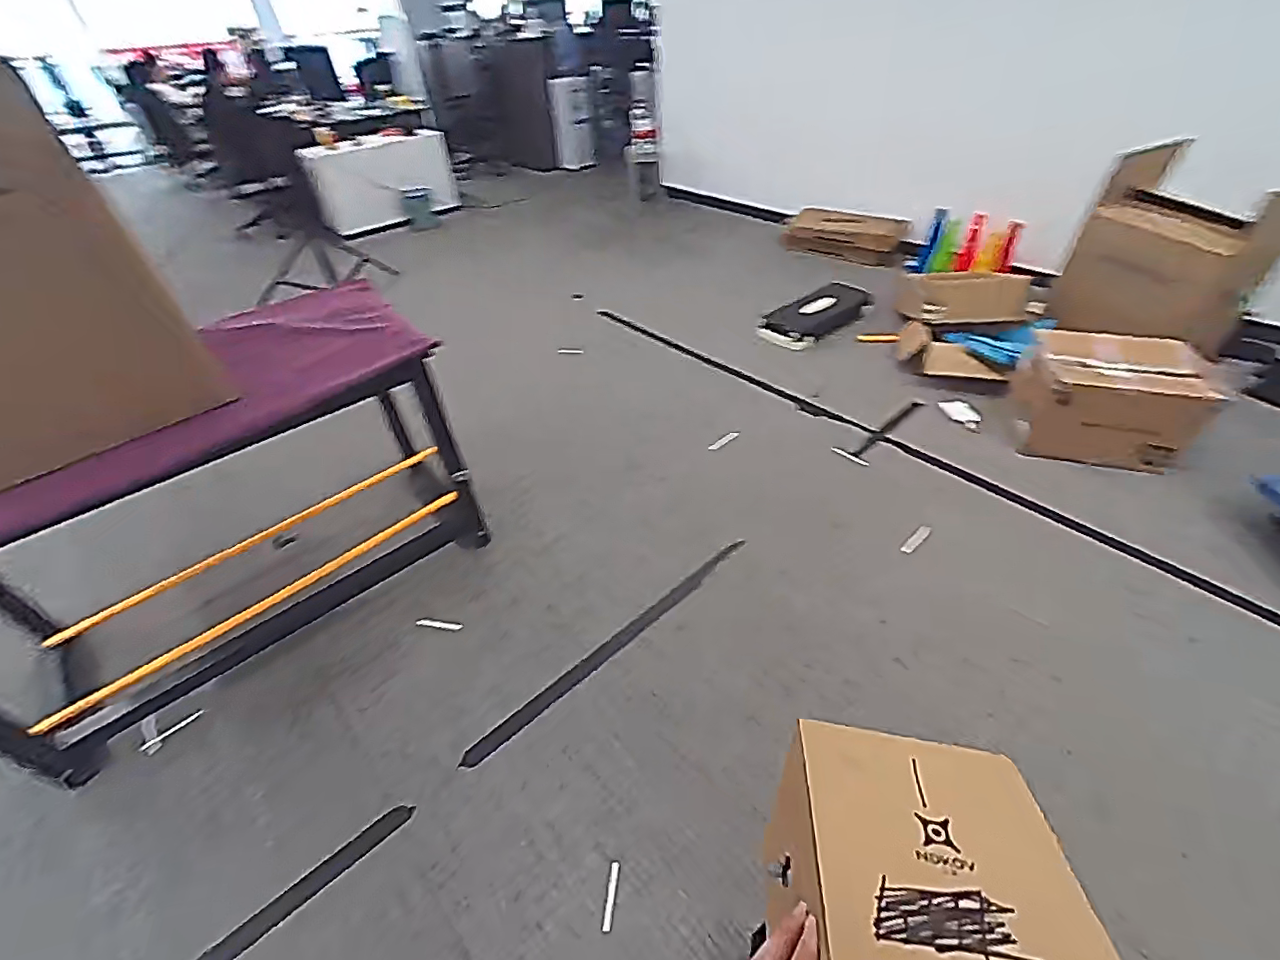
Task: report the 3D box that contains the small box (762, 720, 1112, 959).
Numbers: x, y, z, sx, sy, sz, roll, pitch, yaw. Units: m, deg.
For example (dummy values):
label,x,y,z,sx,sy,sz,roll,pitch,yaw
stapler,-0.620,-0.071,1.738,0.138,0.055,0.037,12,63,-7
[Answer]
label,x,y,z,sx,sy,sz,roll,pitch,yaw
small box,0.184,0.312,0.385,0.168,0.176,0.179,7,24,6
